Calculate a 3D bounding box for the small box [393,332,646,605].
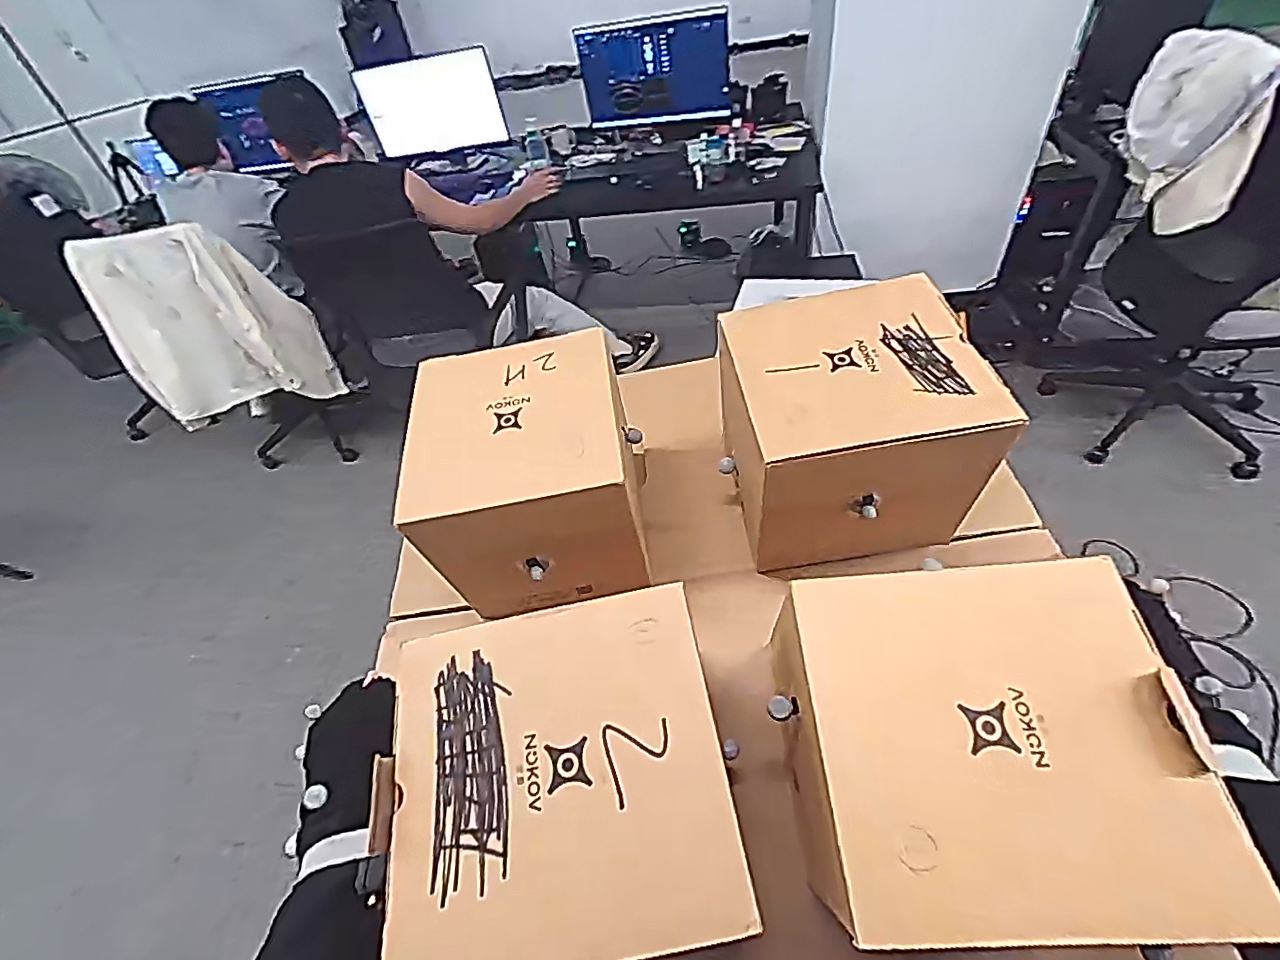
[{"bbox_3d":[-0.092,0.000,0.488,0.168,0.176,0.179,-10,53,2],"label":"small box"}]
